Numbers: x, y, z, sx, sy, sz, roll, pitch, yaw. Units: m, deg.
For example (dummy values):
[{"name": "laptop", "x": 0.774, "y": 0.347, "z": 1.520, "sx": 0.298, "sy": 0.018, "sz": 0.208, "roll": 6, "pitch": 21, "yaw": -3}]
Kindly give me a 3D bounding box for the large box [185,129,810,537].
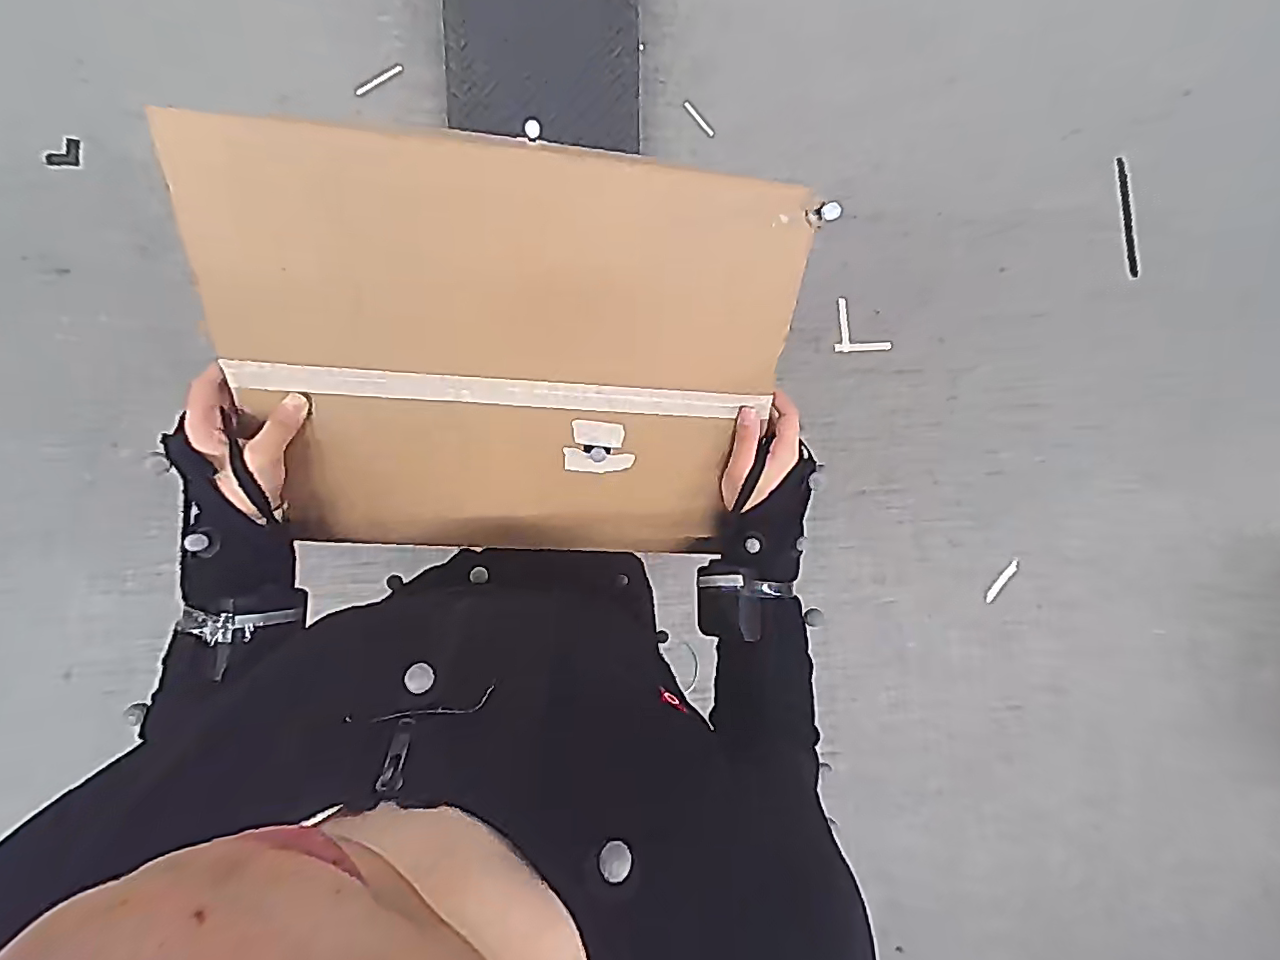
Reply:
[{"name": "large box", "x": -0.107, "y": -0.155, "z": 0.550, "sx": 0.408, "sy": 0.320, "sz": 0.320, "roll": 2, "pitch": 124, "yaw": -8}]
